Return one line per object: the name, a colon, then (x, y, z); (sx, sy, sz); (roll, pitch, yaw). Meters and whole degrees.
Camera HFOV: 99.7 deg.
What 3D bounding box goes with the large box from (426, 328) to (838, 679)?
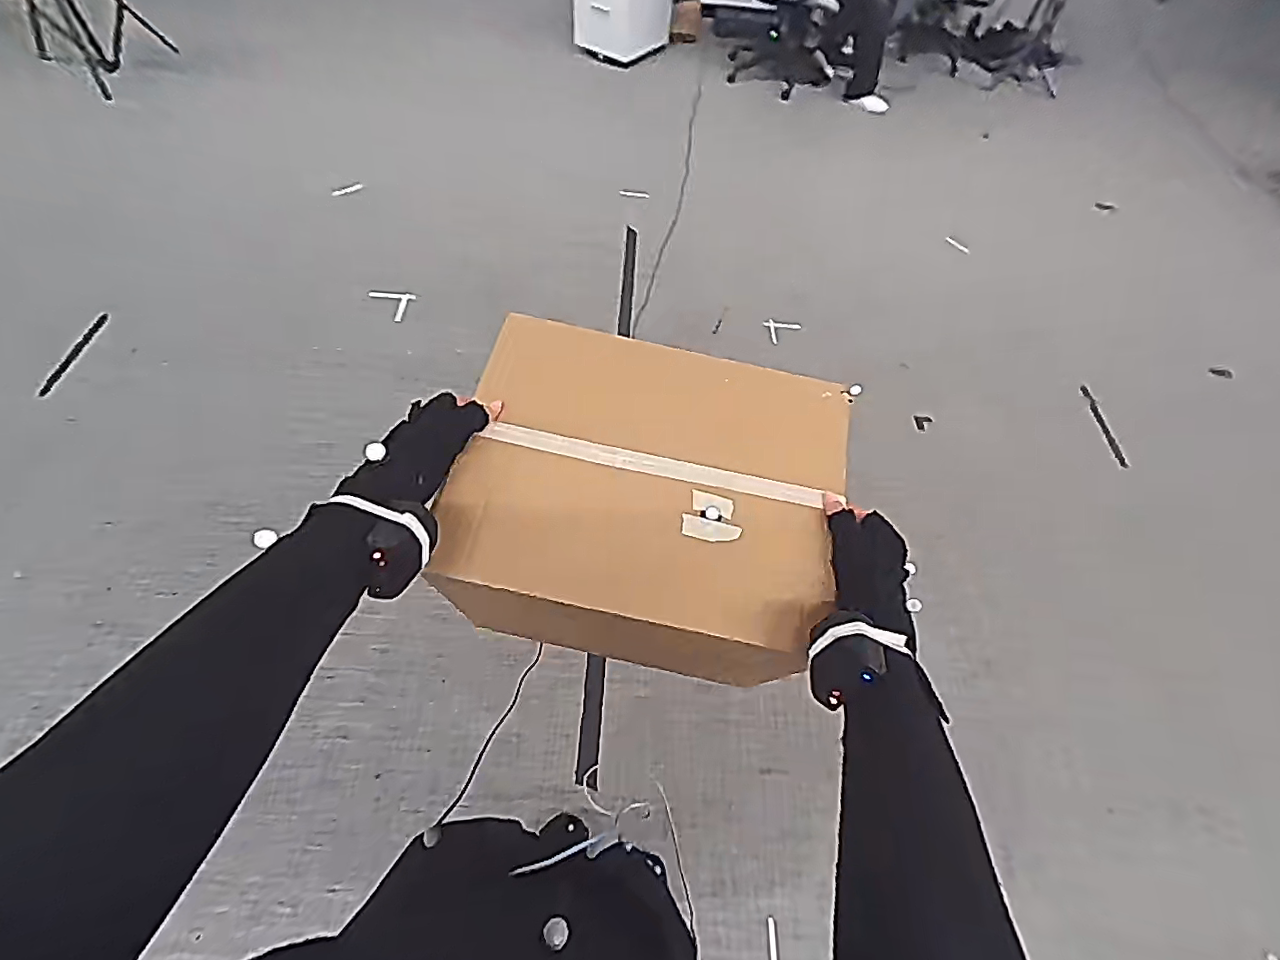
large box: (-0.001, 0.053, 0.710); (0.408, 0.320, 0.320); (12, 65, 0)
